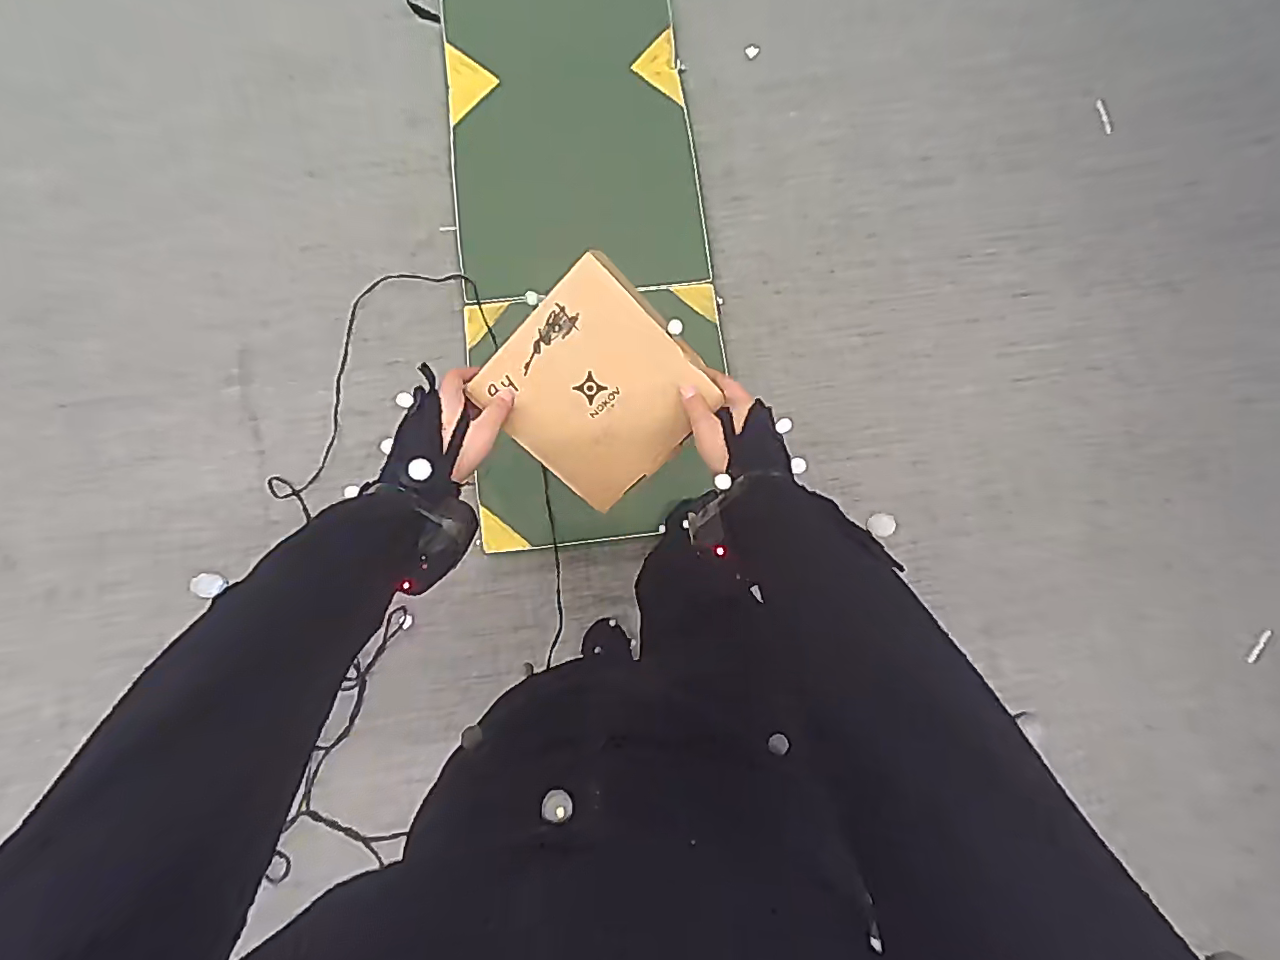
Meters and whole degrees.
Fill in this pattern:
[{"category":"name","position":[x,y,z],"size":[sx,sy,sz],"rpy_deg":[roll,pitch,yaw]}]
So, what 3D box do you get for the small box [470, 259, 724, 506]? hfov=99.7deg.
[{"category":"small box","position":[-0.039,-0.111,0.565],"size":[0.168,0.176,0.179],"rpy_deg":[-43,108,15]}]
